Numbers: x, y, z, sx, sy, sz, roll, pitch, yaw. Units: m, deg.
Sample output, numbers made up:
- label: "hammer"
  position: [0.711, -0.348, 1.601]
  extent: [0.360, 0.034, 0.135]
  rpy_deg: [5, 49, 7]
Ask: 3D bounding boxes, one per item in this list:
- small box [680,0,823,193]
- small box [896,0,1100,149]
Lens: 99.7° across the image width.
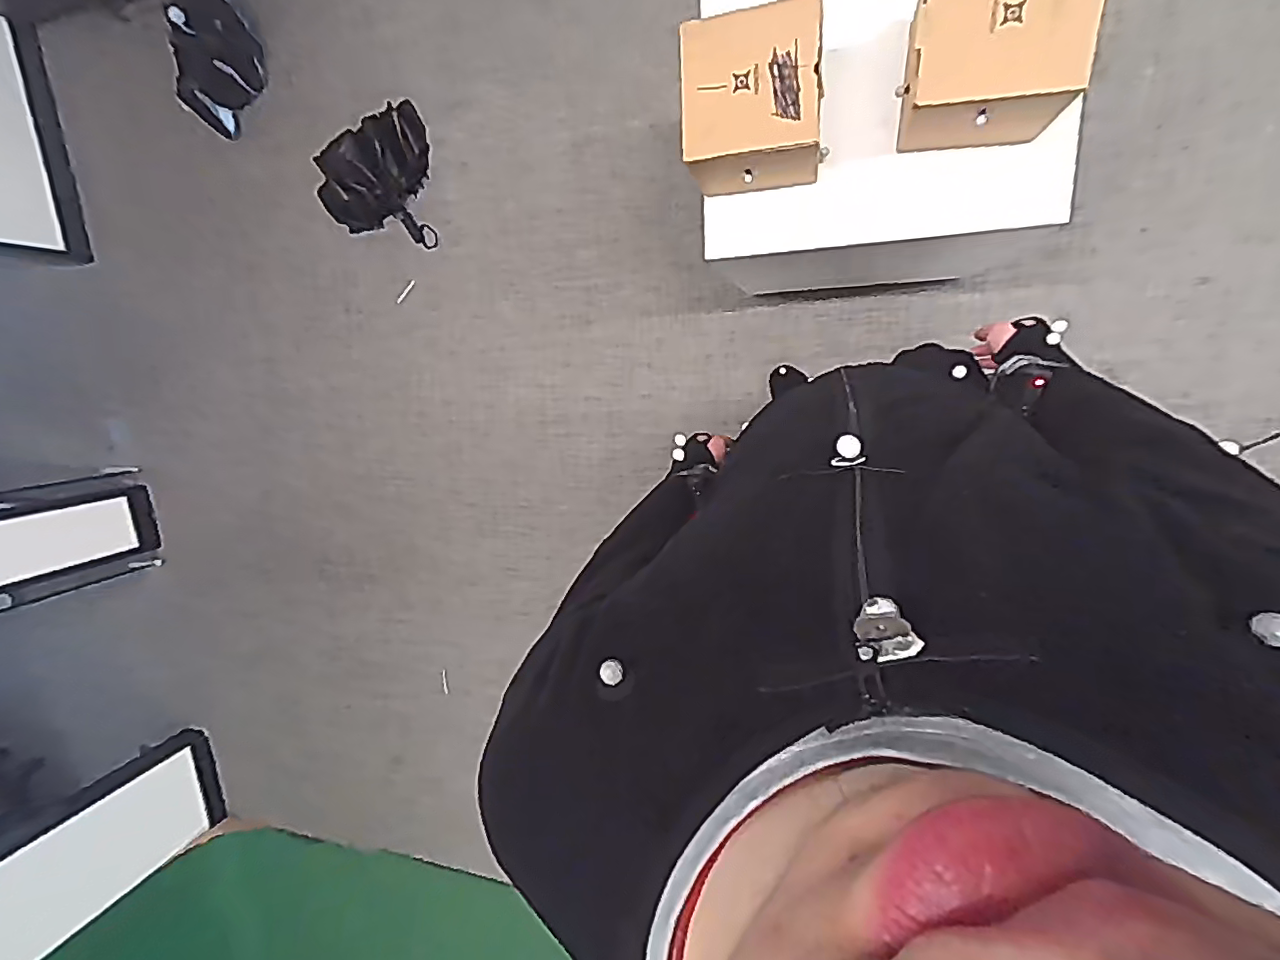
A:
- label: "small box"
  position: [0.159, -0.520, 0.756]
  extent: [0.179, 0.176, 0.168]
  rpy_deg: [2, 103, 18]
- label: "small box"
  position: [0.427, -0.530, 0.667]
  extent: [0.179, 0.176, 0.168]
  rpy_deg: [6, 106, 17]
